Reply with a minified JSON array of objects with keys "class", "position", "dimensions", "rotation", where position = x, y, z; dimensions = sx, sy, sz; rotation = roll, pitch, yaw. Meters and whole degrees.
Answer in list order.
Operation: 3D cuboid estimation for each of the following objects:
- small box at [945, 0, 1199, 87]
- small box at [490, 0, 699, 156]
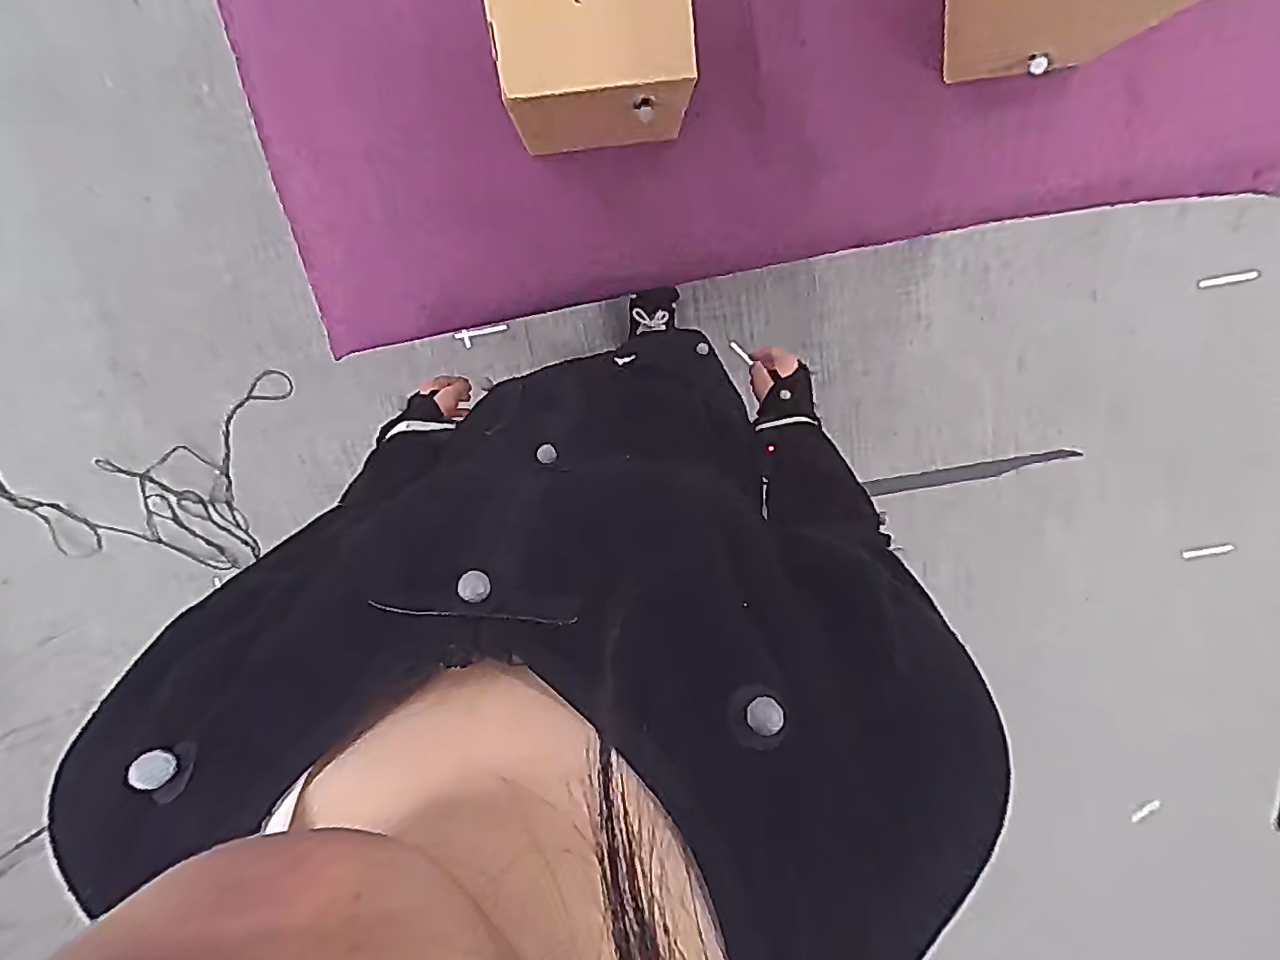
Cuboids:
[{"class":"small box","position":[0.425,-0.525,0.527],"dimensions":[0.168,0.176,0.179],"rotation":[-7,107,0]},{"class":"small box","position":[-0.045,-0.440,0.532],"dimensions":[0.179,0.176,0.168],"rotation":[-7,106,0]}]
